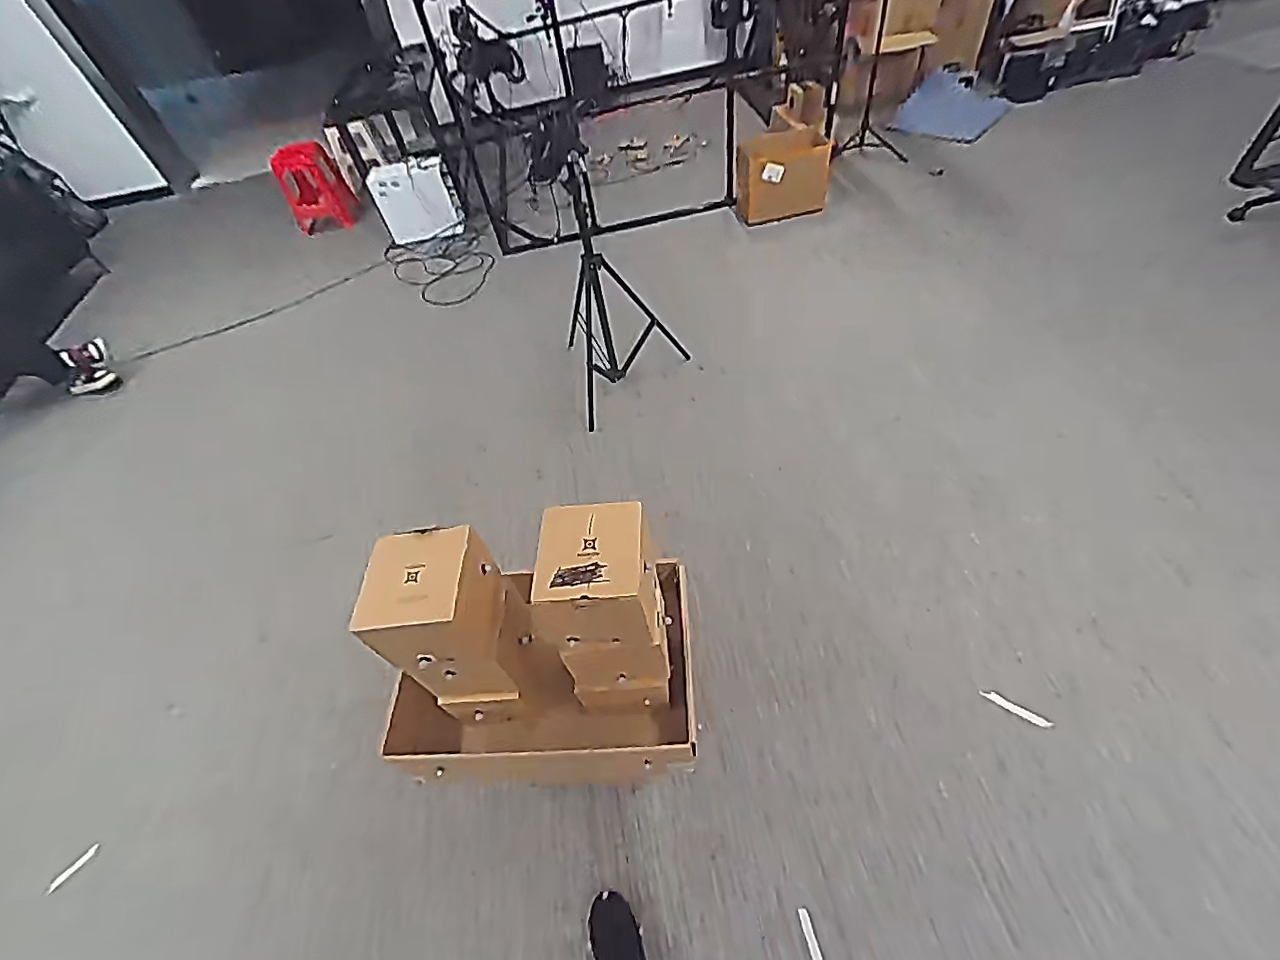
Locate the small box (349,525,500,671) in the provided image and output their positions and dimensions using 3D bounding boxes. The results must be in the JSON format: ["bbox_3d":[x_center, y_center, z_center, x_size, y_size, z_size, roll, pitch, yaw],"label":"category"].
[{"bbox_3d":[-0.346,0.201,0.912,0.168,0.176,0.179,-7,49,4],"label":"small box"}]

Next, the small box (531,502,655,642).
[{"bbox_3d":[-0.066,0.159,0.894,0.168,0.176,0.179,-4,50,7],"label":"small box"}]

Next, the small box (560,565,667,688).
[{"bbox_3d":[-0.044,0.275,1.009,0.179,0.176,0.168,-7,51,3],"label":"small box"}]

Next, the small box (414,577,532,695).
[{"bbox_3d":[-0.322,0.303,1.038,0.179,0.176,0.168,-4,50,4],"label":"small box"}]

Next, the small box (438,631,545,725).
[{"bbox_3d":[-0.307,0.414,1.159,0.168,0.176,0.179,-5,50,3],"label":"small box"}]
